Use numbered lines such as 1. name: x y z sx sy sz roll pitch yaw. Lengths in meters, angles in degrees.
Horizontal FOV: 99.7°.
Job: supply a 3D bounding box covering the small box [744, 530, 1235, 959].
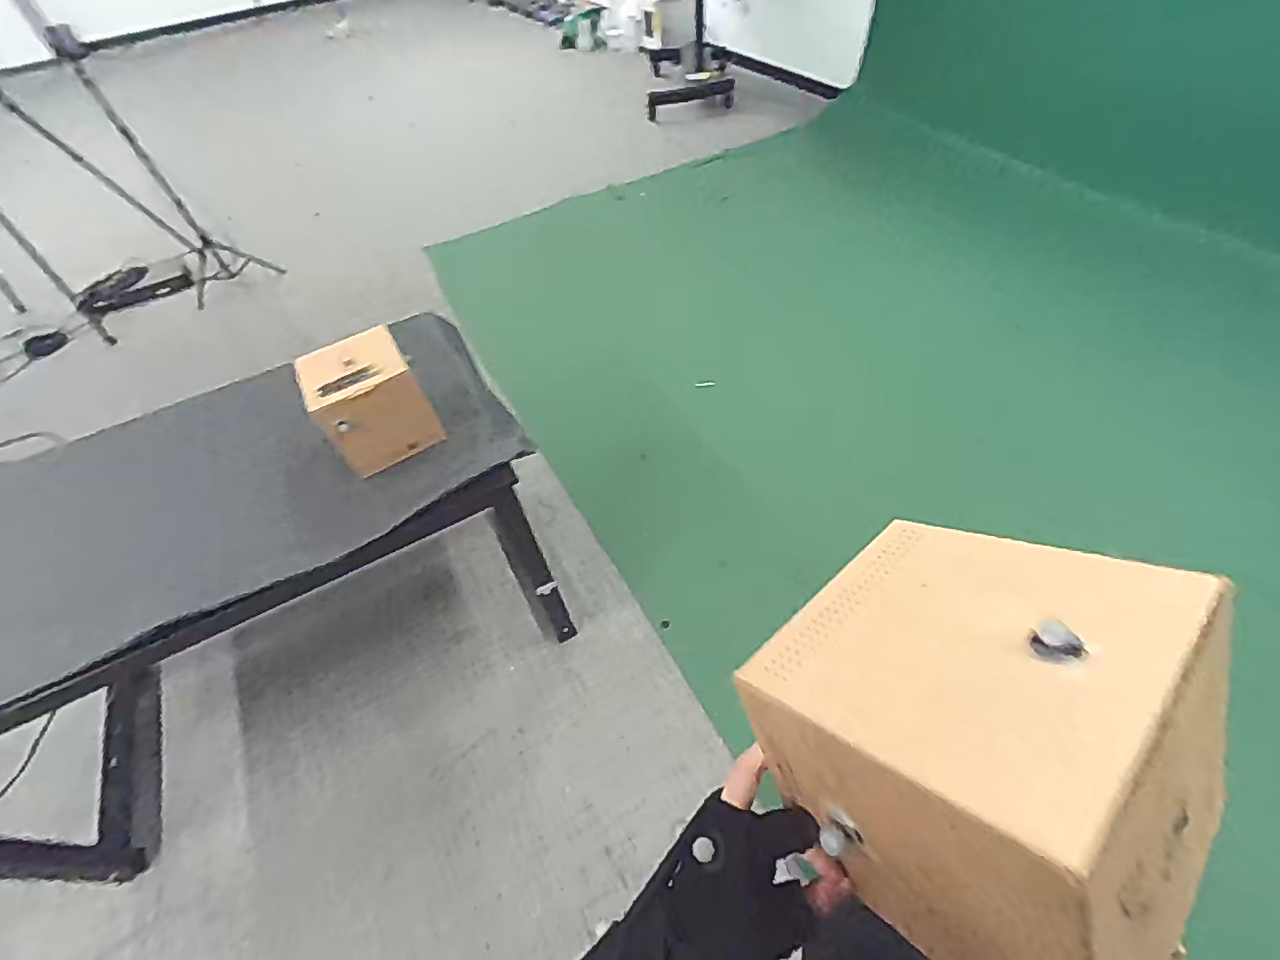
1. small box: 0.190 0.149 0.307 0.179 0.168 0.176 -35 25 -27
